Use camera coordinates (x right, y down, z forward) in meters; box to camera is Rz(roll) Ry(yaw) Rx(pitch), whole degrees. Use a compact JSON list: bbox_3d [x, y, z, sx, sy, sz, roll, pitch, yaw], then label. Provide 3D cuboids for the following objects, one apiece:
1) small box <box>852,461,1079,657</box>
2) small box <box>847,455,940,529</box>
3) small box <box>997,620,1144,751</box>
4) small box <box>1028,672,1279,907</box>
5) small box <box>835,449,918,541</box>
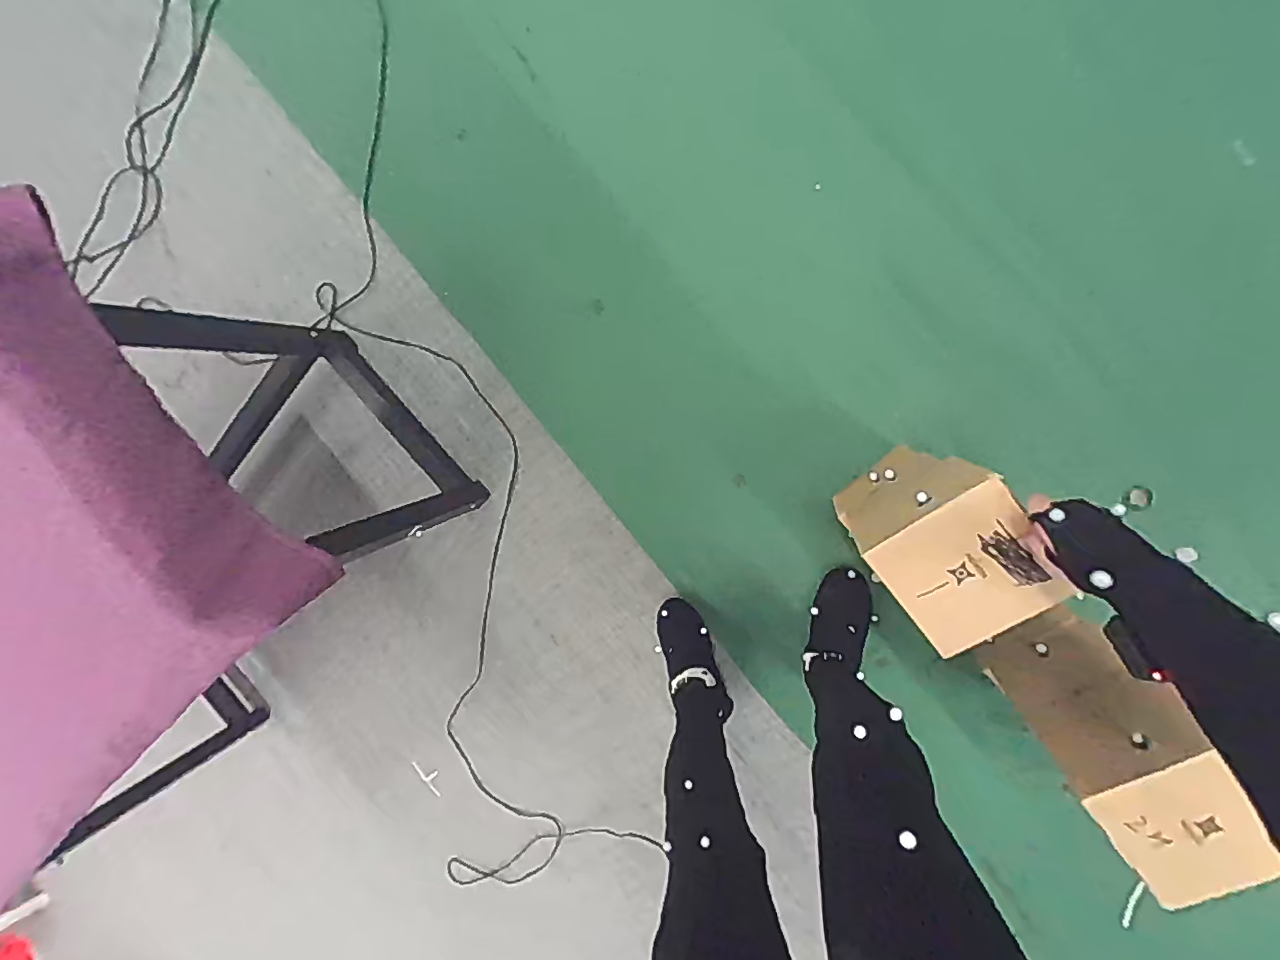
[{"bbox_3d":[0.407,0.092,0.716,0.179,0.176,0.168,-38,88,18],"label":"small box"},{"bbox_3d":[0.460,0.077,0.871,0.168,0.176,0.179,-42,86,17],"label":"small box"},{"bbox_3d":[0.702,0.356,0.851,0.179,0.176,0.168,-39,89,20],"label":"small box"},{"bbox_3d":[0.657,0.383,0.695,0.179,0.176,0.168,-38,89,19],"label":"small box"},{"bbox_3d":[0.492,0.060,1.030,0.179,0.176,0.168,-42,87,18],"label":"small box"}]
